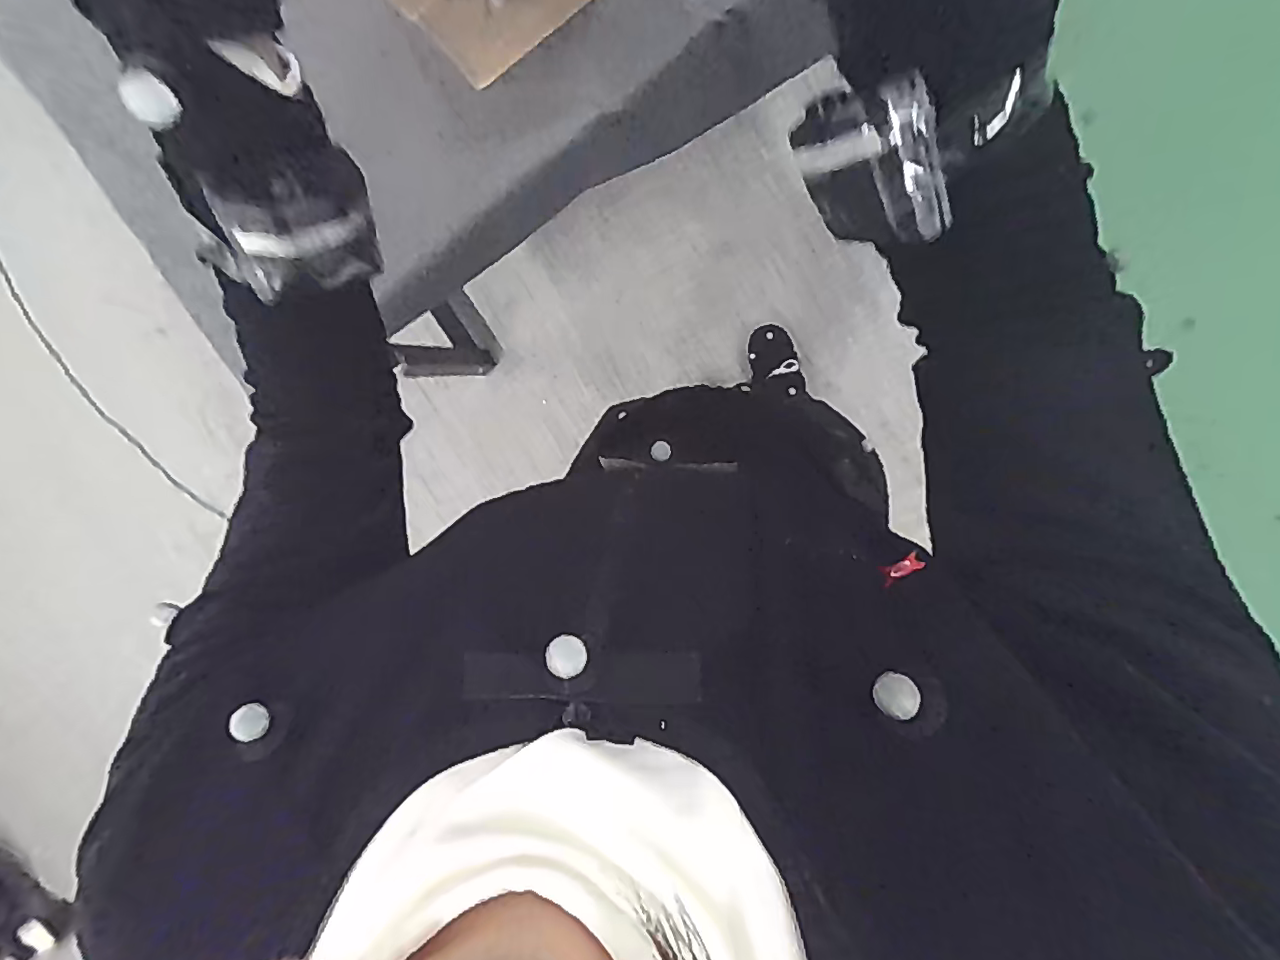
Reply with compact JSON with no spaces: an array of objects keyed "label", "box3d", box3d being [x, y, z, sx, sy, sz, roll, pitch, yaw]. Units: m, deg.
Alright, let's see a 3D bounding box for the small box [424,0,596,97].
[{"label":"small box","box3d":[-0.166,-0.545,0.545,0.179,0.176,0.168,-33,92,13]}]
